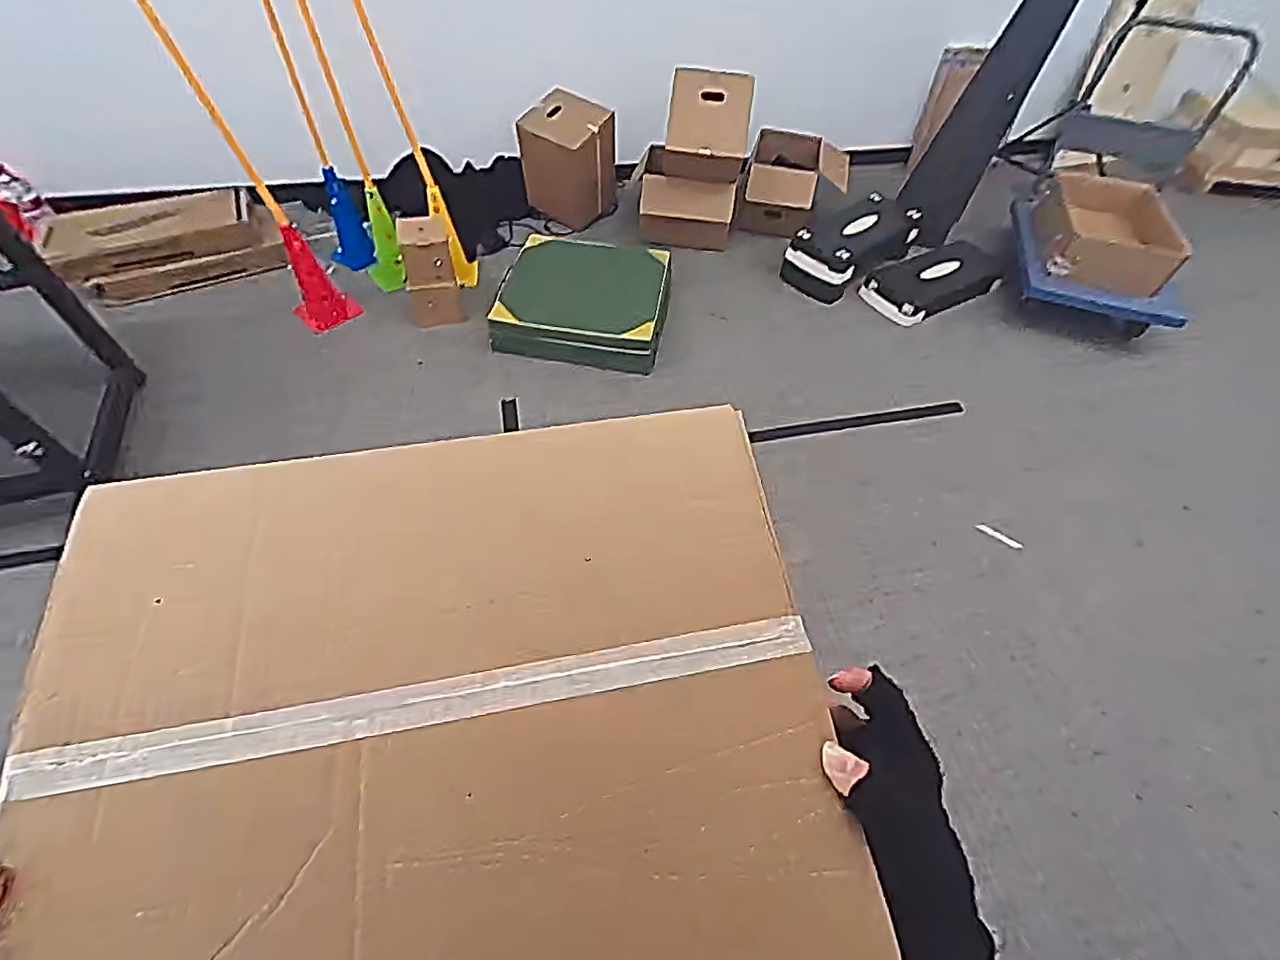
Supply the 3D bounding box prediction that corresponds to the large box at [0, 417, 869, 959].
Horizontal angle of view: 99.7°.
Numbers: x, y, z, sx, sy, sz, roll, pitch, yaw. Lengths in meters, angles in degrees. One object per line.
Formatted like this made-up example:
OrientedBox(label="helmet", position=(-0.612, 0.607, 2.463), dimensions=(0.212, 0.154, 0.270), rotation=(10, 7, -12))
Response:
OrientedBox(label="large box", position=(-0.113, 0.181, 0.431), dimensions=(0.408, 0.320, 0.320), rotation=(-8, 65, -6))
